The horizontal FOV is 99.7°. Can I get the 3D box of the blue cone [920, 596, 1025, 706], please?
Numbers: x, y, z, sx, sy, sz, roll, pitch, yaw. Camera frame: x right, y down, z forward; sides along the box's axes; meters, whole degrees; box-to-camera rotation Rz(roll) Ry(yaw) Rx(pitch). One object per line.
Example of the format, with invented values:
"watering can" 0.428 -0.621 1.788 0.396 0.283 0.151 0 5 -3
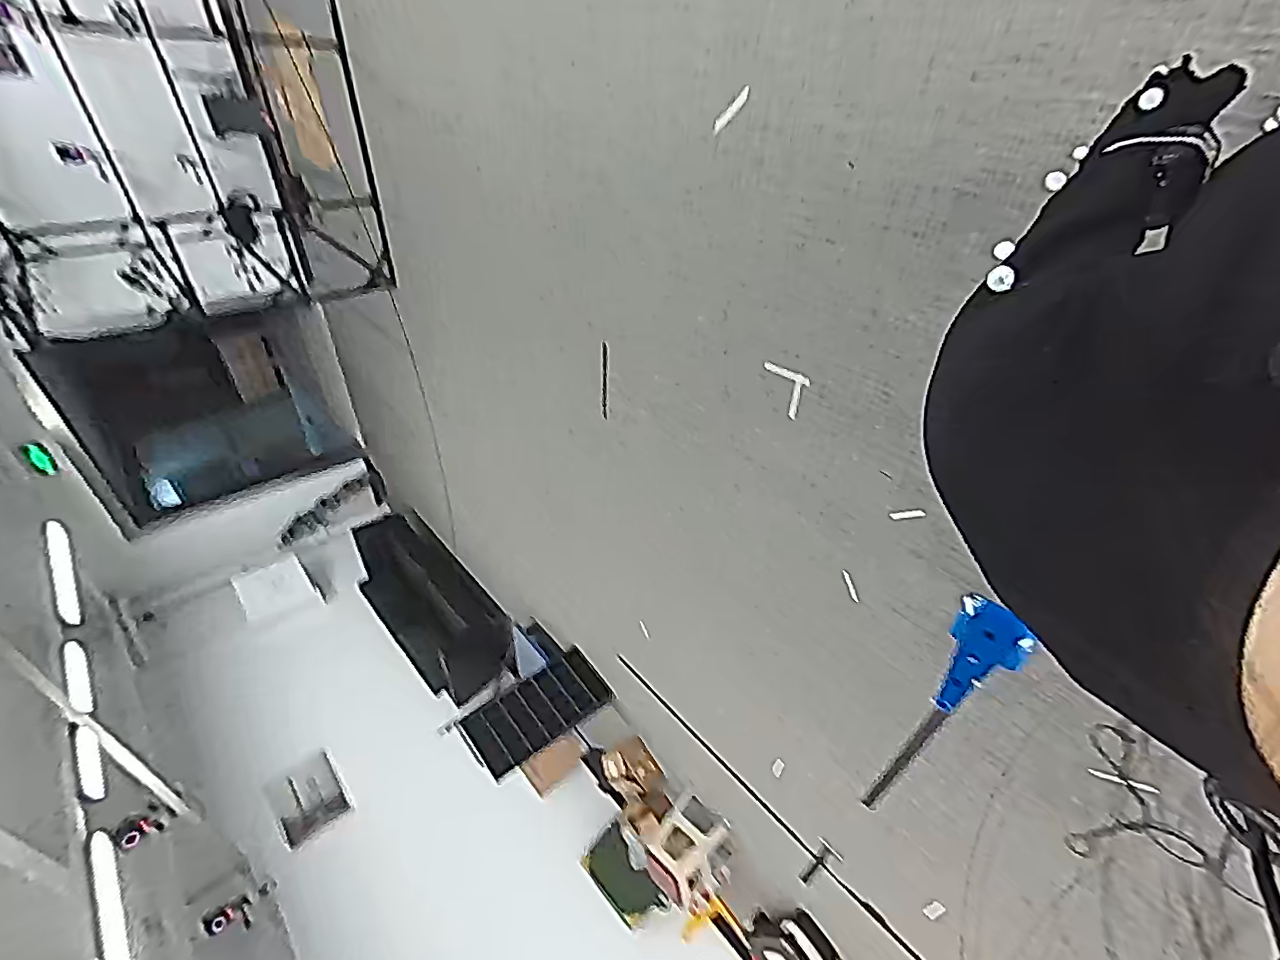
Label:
"blue cone" 0.897 0.514 1.515 0.192 0.380 0.193 34 136 36
